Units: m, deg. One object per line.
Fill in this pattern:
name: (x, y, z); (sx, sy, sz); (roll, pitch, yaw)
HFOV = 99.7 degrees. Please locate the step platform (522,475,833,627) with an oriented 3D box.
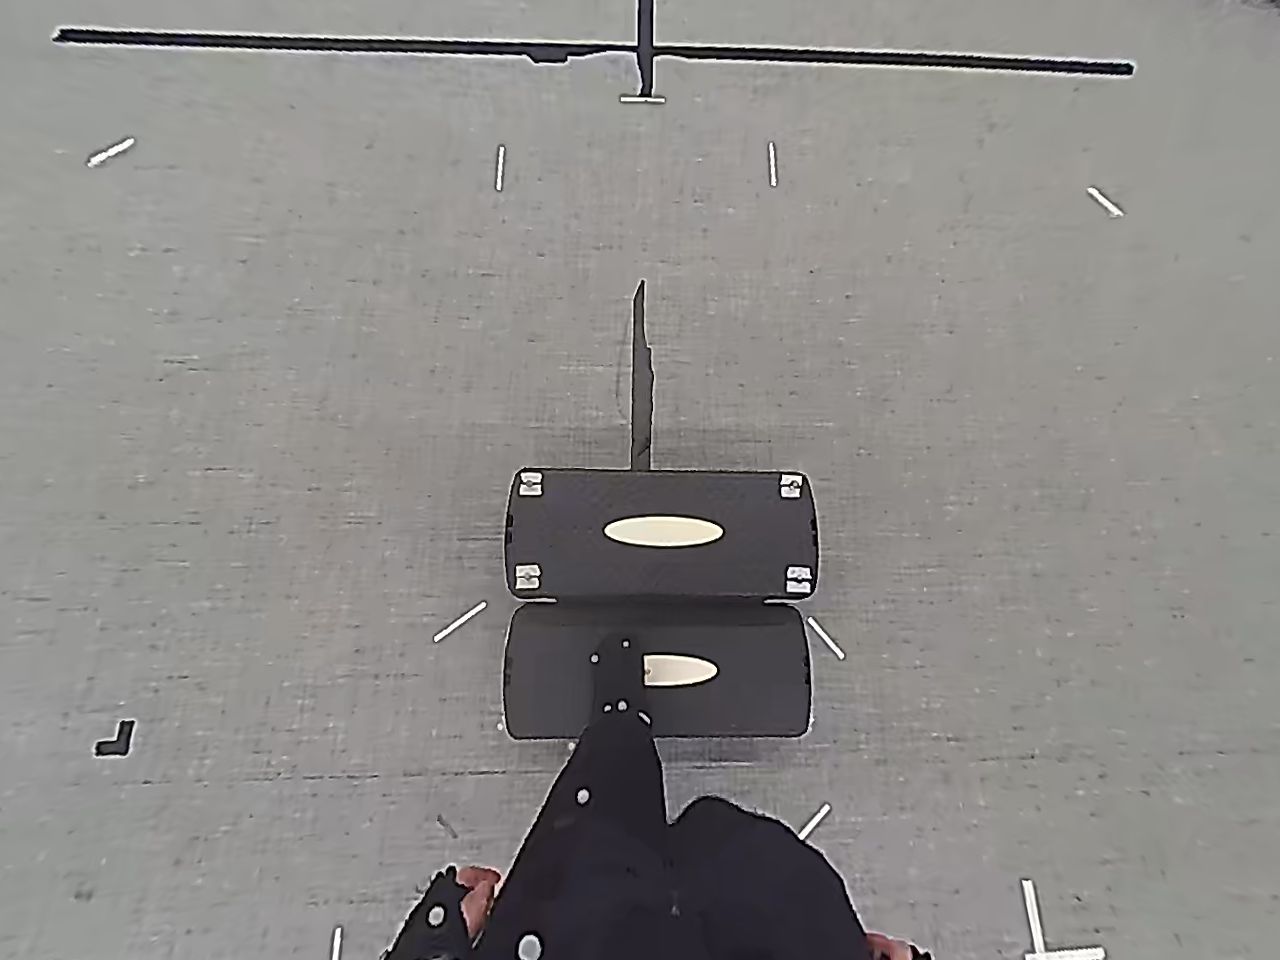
step platform: (0.081, 0.163, 1.228); (0.684, 0.204, 0.286); (5, 74, -2)
